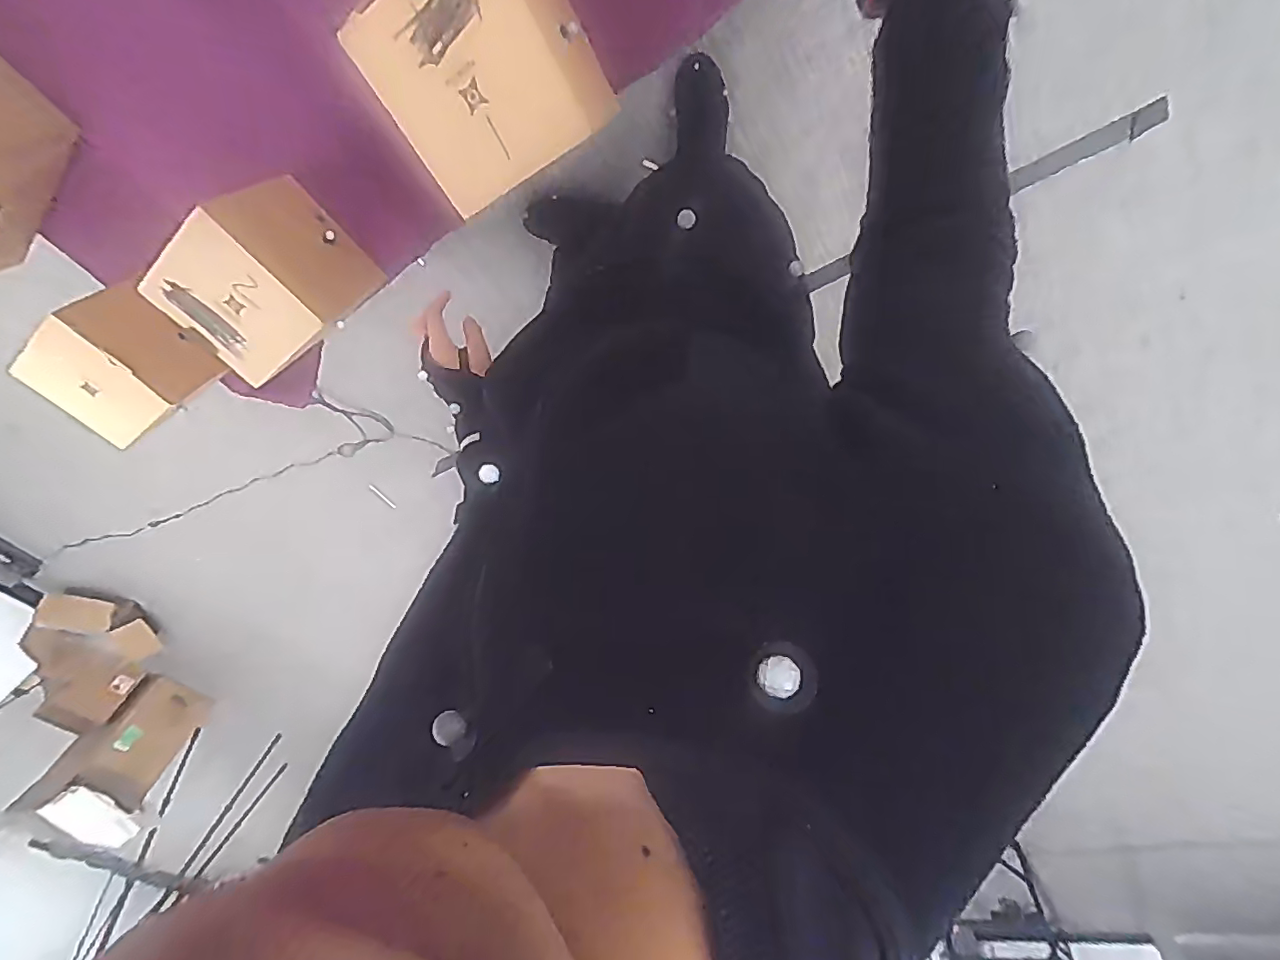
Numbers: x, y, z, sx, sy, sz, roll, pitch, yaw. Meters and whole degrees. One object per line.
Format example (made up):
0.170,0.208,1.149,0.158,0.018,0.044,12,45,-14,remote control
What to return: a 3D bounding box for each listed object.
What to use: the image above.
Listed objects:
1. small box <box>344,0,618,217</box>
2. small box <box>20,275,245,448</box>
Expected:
-0.141,-0.408,0.546,0.168,0.176,0.179,-19,126,24,small box
-0.776,-0.186,0.846,0.179,0.176,0.168,-24,123,26,small box
